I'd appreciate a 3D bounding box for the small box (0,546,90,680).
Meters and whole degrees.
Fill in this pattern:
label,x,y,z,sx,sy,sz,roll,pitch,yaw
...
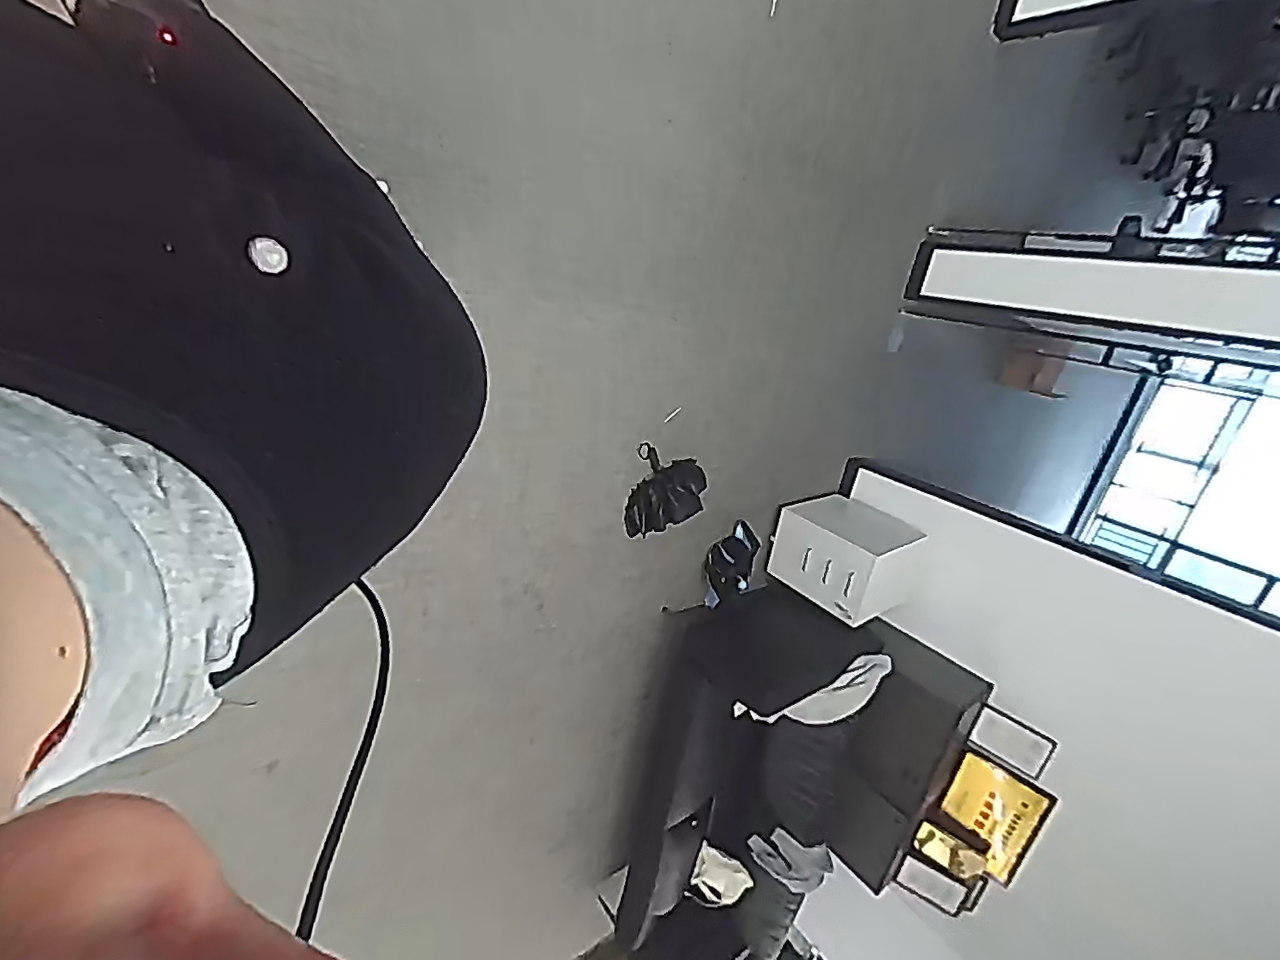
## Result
label,x,y,z,sx,sy,sz,roll,pitch,yaw
small box,-1.294,0.267,1.112,0.179,0.176,0.168,-48,134,-10
